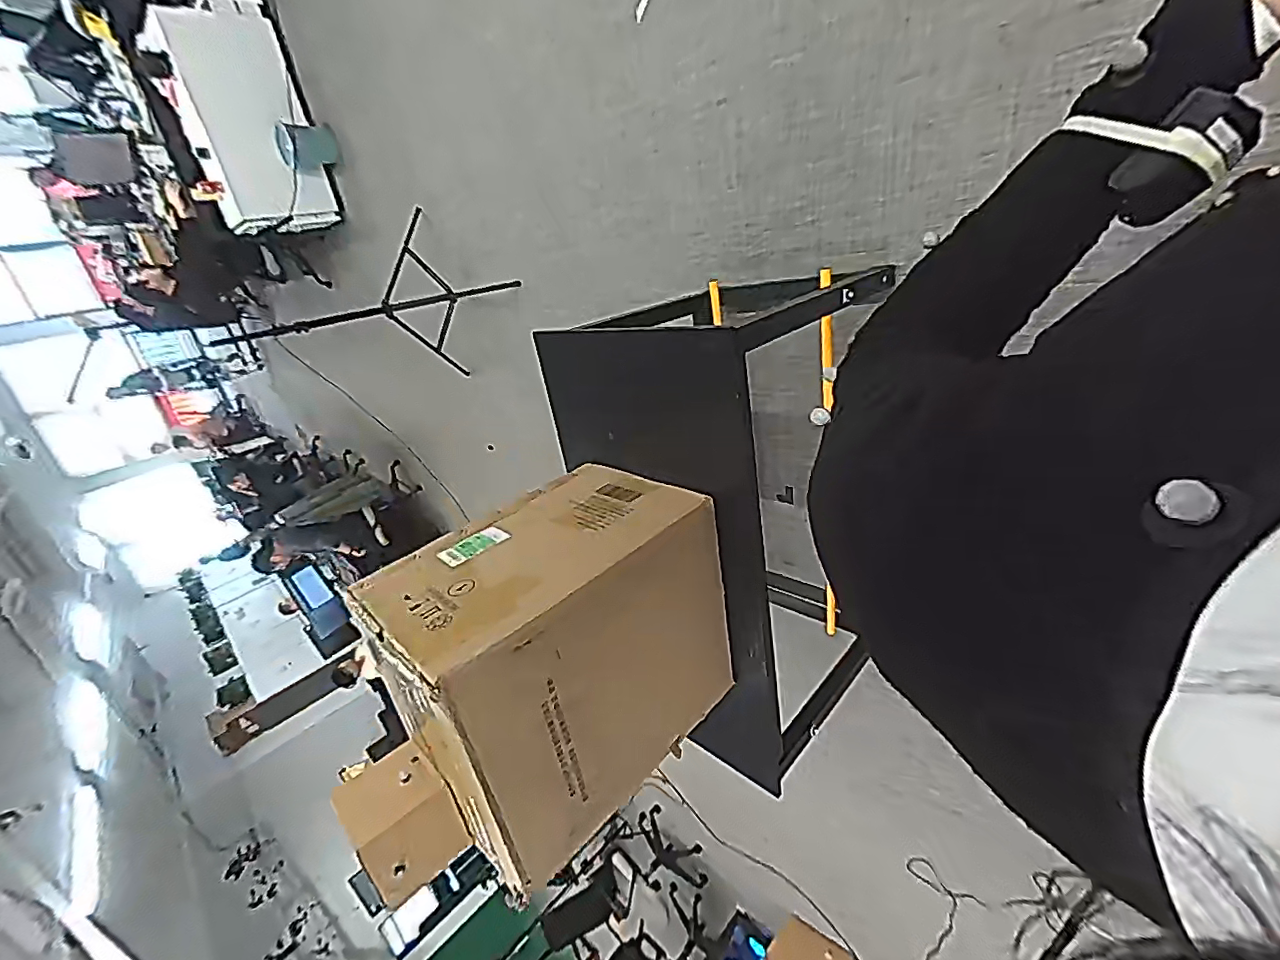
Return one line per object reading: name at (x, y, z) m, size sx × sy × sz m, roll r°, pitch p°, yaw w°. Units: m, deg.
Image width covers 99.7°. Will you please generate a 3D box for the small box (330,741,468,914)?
small box at (-0.449, 0.646, 1.025) m, size 0.168 × 0.176 × 0.179 m, roll 15°, pitch 123°, yaw 45°
